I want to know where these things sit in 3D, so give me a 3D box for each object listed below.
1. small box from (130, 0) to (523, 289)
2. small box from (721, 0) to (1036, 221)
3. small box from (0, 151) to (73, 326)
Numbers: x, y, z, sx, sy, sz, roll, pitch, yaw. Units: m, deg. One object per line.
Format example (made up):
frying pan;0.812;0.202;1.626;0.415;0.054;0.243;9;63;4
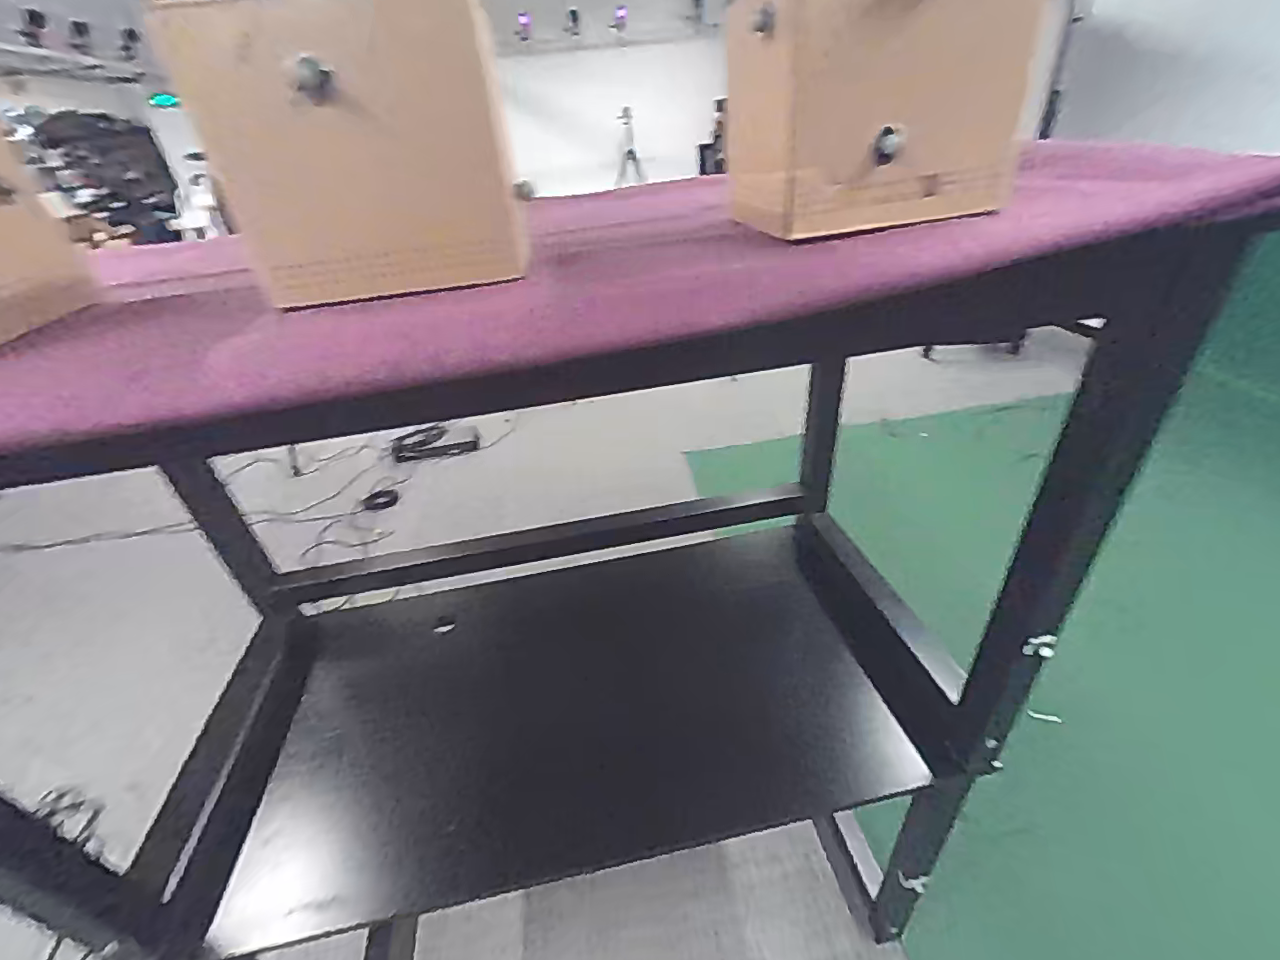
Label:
small box;-0.192;-0.247;0.396;0.179;0.176;0.168;-9;33;-5
small box;0.162;-0.307;0.422;0.168;0.176;0.179;-10;32;-2
small box;-0.528;-0.165;0.333;0.168;0.176;0.179;-13;36;-8
